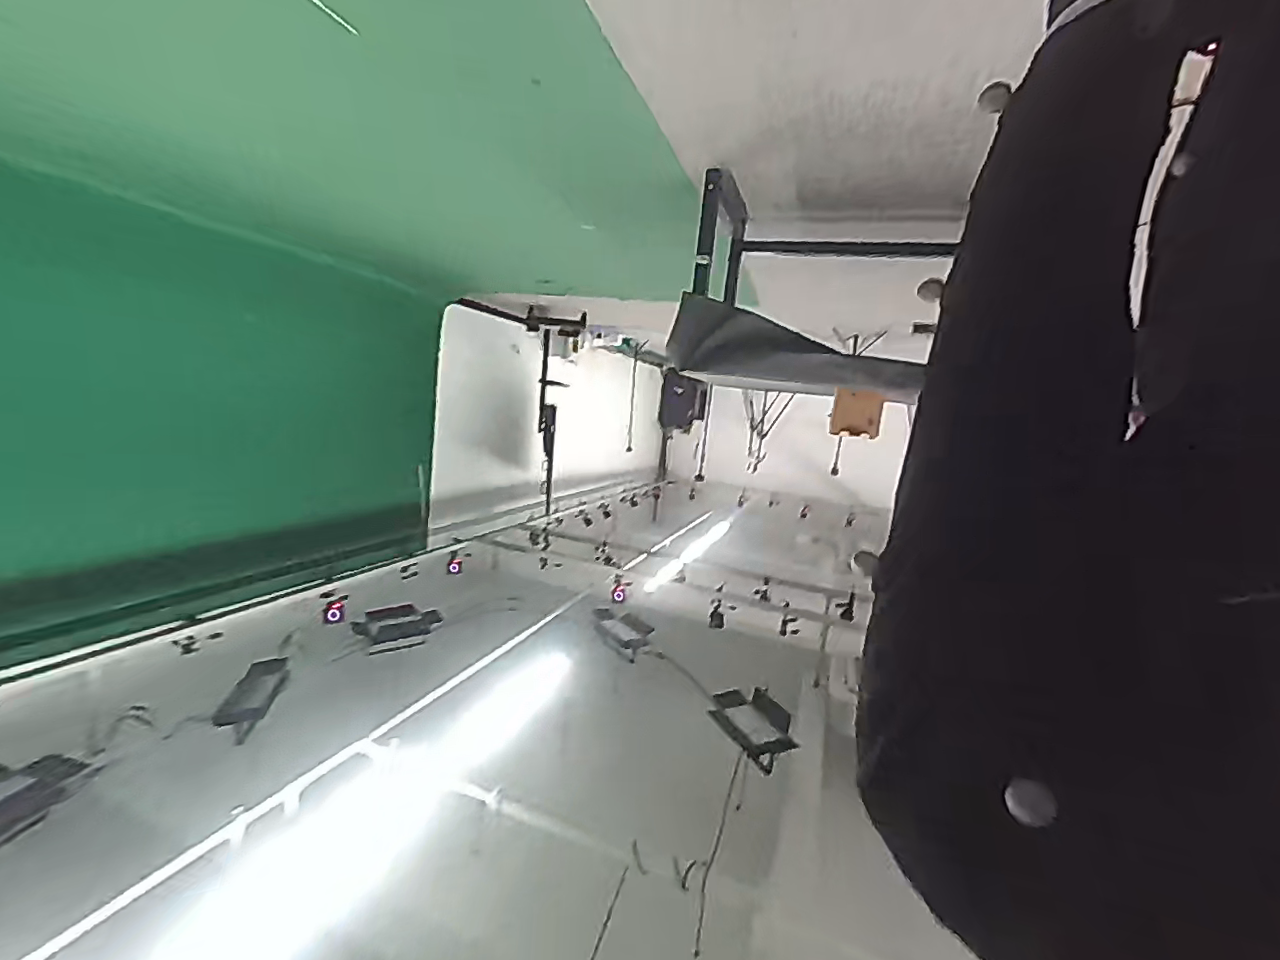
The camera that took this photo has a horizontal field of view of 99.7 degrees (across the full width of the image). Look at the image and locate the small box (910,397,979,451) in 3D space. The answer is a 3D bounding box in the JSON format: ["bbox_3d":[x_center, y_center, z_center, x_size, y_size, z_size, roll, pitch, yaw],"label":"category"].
[{"bbox_3d":[1.076,-0.202,1.915,0.168,0.176,0.179,10,-170,16],"label":"small box"}]
